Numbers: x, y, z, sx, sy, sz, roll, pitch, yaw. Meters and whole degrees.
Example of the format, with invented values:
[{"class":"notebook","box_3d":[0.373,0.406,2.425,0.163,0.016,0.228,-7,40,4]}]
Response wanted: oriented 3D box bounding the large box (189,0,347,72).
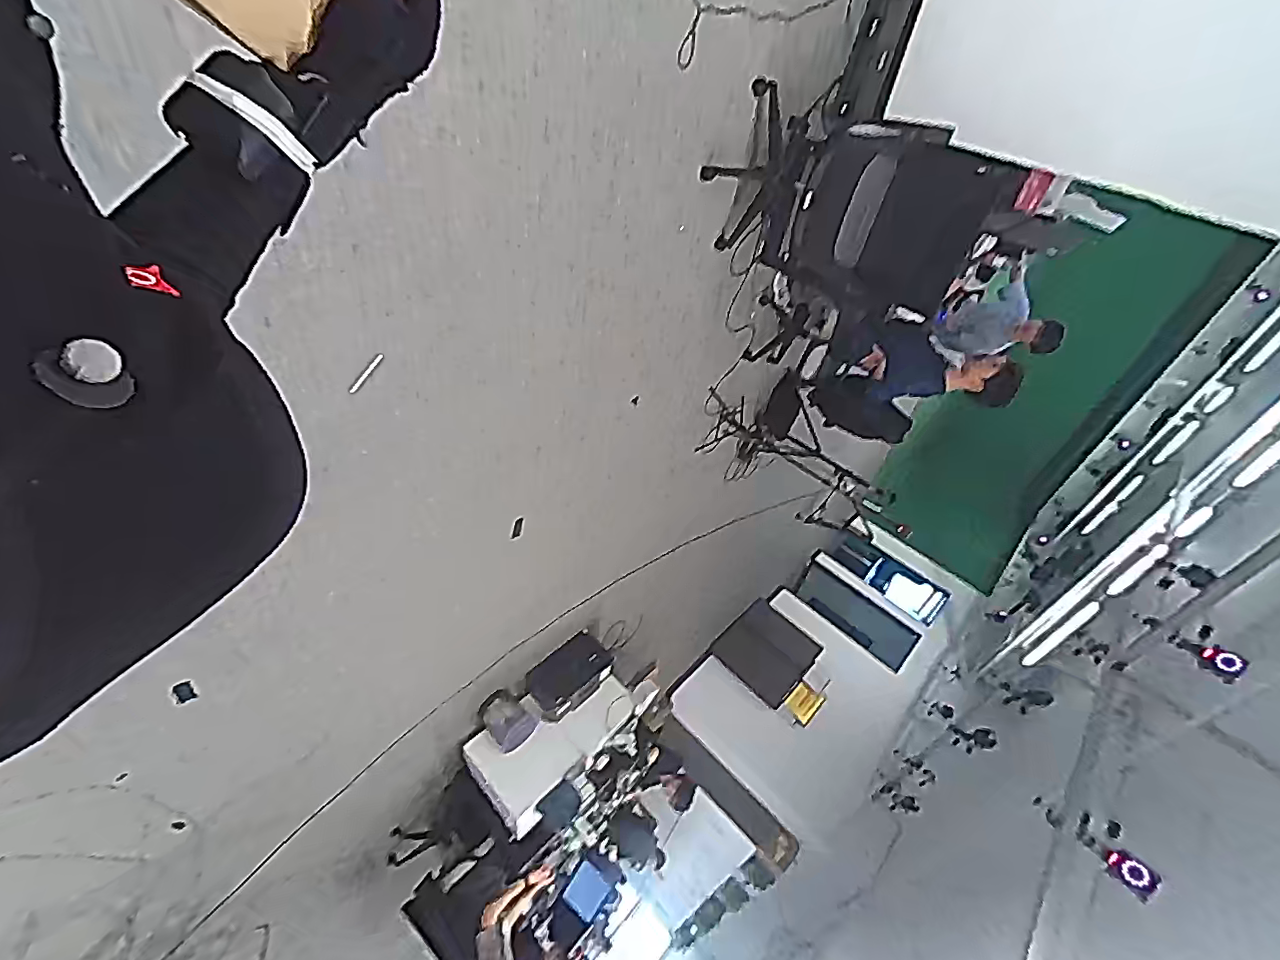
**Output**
[{"class":"large box","box_3d":[-0.346,-0.543,0.269,0.320,0.320,0.408,-51,157,7]}]
